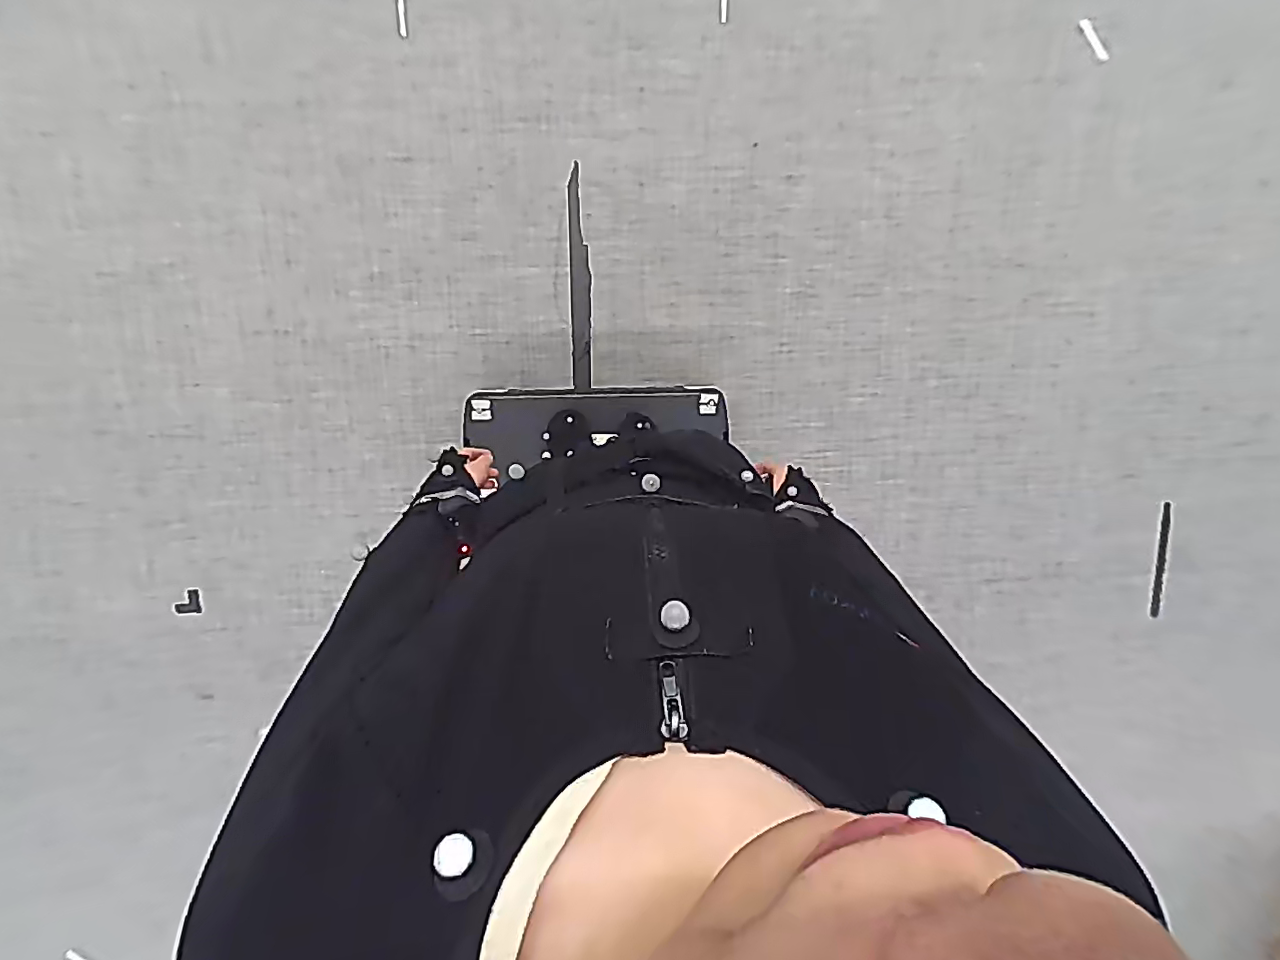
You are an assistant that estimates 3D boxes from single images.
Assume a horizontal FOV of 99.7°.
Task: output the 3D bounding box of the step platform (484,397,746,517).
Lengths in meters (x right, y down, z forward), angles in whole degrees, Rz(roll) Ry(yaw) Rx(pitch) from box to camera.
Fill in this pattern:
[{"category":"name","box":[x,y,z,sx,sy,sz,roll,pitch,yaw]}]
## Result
[{"category":"step platform","box":[-0.065,-0.063,1.449,0.684,0.204,0.286,2,98,-5]}]
